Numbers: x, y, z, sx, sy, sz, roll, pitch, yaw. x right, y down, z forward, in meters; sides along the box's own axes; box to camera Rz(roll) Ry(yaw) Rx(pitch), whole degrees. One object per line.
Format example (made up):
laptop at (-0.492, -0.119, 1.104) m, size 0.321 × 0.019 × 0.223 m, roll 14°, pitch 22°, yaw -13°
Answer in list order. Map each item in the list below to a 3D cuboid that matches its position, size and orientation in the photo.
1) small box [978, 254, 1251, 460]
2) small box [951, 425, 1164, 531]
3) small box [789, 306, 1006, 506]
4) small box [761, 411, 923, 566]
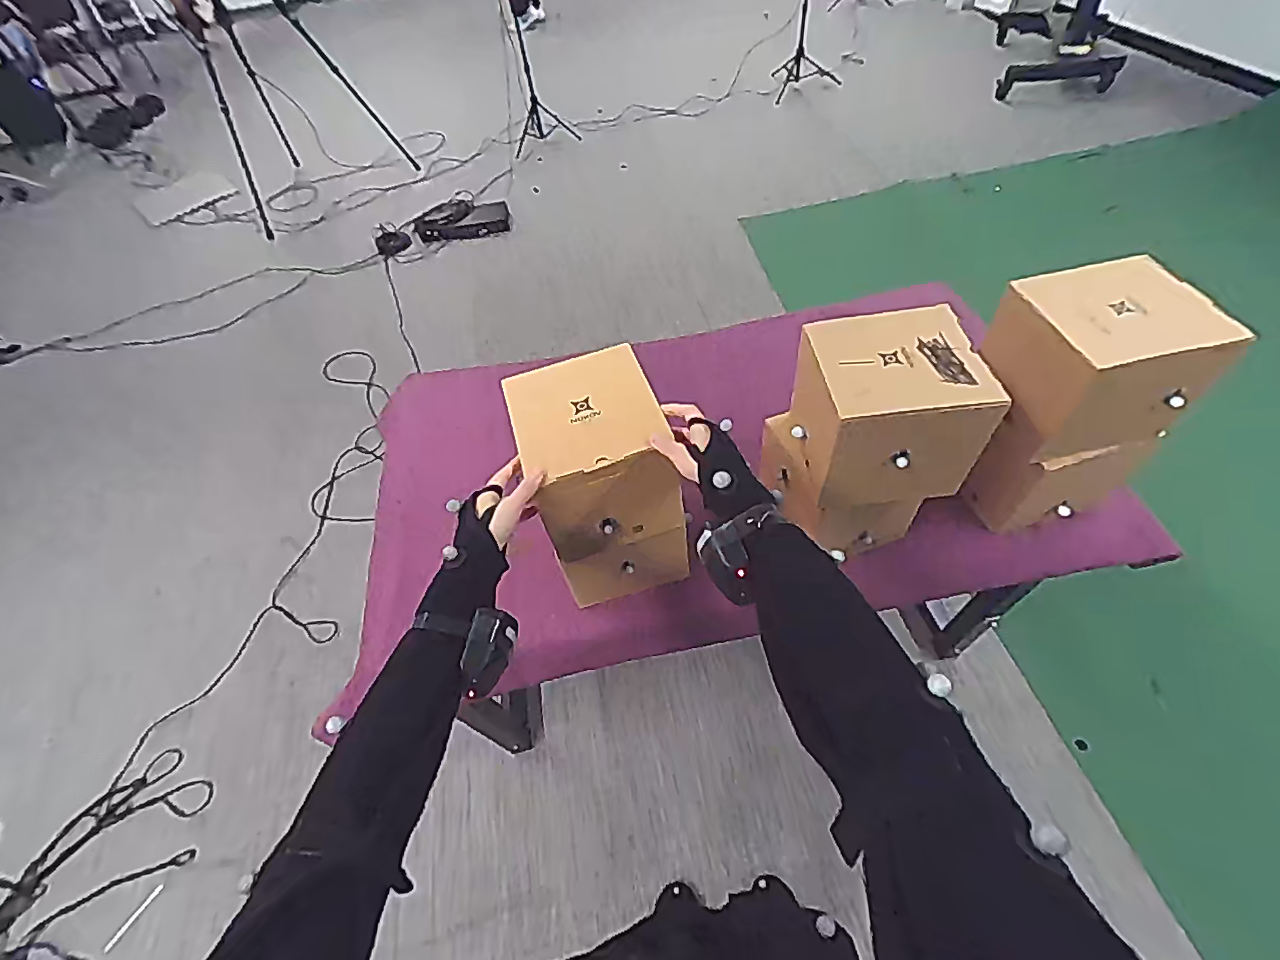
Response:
small box at (0.555, -0.149, 0.677) m, size 0.179 × 0.176 × 0.168 m, roll -12°, pitch 53°, yaw 0°
small box at (0.586, -0.049, 0.803) m, size 0.179 × 0.176 × 0.168 m, roll -16°, pitch 53°, yaw -4°
small box at (0.294, -0.085, 0.665) m, size 0.179 × 0.176 × 0.168 m, roll -7°, pitch 52°, yaw 4°
small box at (0.292, -0.001, 0.809) m, size 0.168 × 0.176 × 0.179 m, roll -18°, pitch 53°, yaw -5°
